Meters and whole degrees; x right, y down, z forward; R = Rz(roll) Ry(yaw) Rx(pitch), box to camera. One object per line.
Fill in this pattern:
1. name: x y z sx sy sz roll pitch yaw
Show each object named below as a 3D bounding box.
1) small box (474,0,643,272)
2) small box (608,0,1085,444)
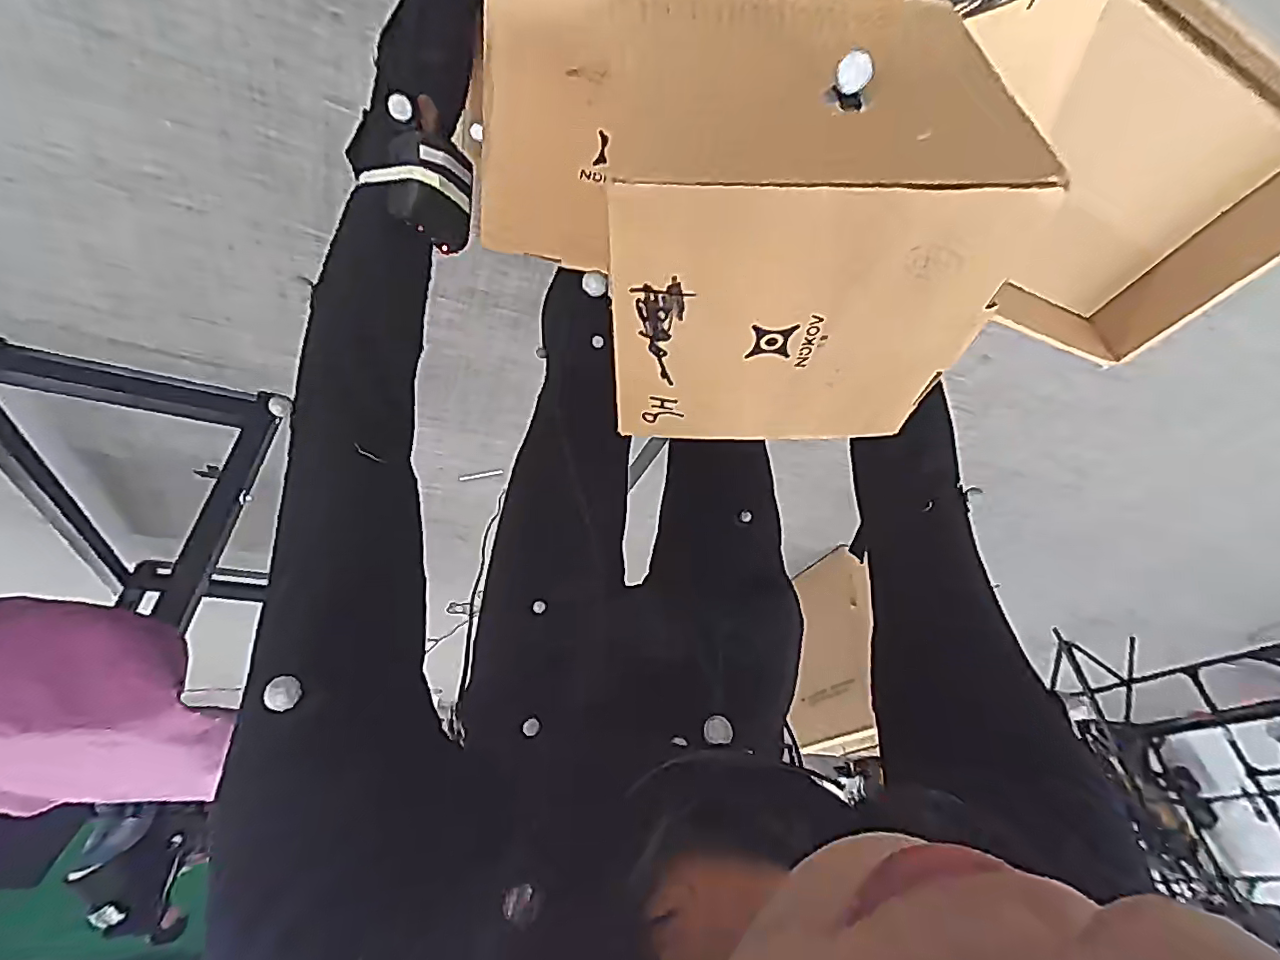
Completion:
1. small box: -0.023 -0.274 0.383 0.168 0.176 0.179 5 147 -13
2. small box: 0.073 -0.135 0.299 0.179 0.176 0.168 0 149 -1
